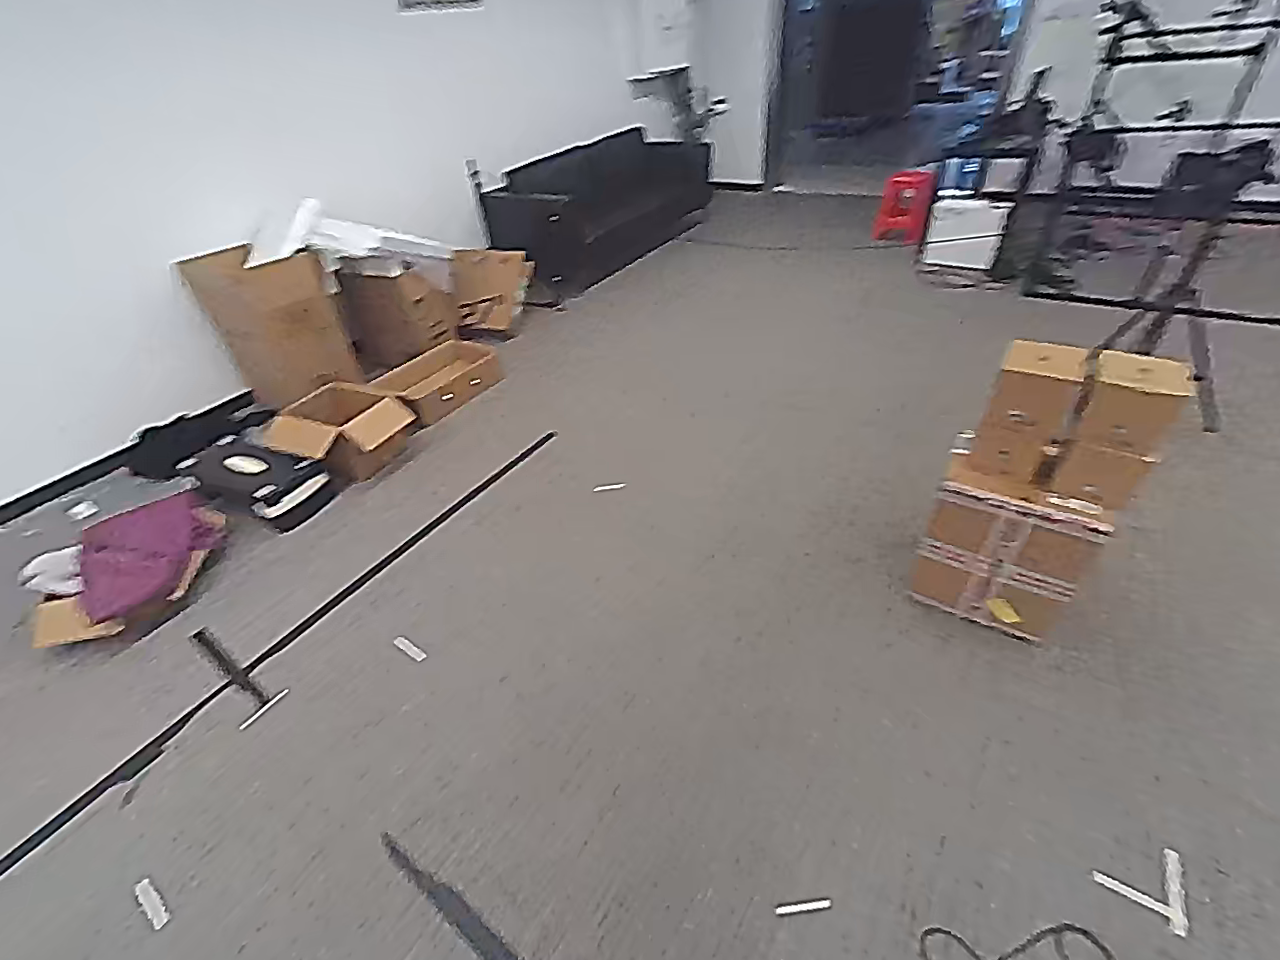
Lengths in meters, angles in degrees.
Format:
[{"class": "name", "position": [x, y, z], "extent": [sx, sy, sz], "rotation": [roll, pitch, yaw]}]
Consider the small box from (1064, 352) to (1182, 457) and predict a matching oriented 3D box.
[{"class": "small box", "position": [1.175, -0.186, 1.325], "extent": [0.168, 0.176, 0.179], "rotation": [20, 47, 27]}]

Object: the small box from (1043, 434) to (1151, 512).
[{"class": "small box", "position": [1.194, -0.050, 1.418], "extent": [0.168, 0.176, 0.179], "rotation": [22, 49, 29]}]

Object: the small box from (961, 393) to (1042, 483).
[{"class": "small box", "position": [1.026, -0.118, 1.521], "extent": [0.168, 0.176, 0.179], "rotation": [21, 49, 31]}]

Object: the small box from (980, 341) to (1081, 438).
[{"class": "small box", "position": [1.012, -0.236, 1.408], "extent": [0.168, 0.176, 0.179], "rotation": [20, 48, 32]}]
